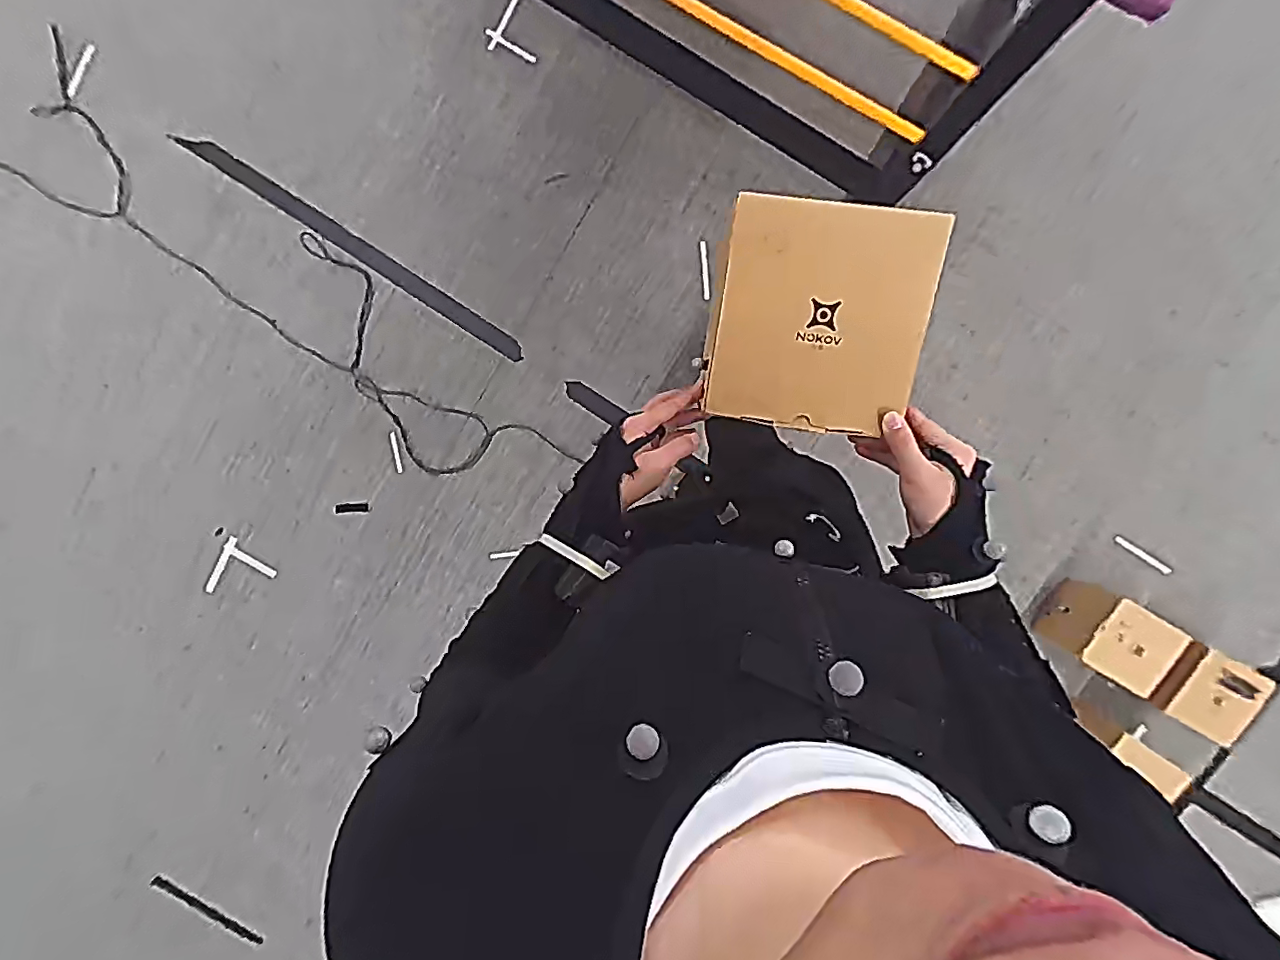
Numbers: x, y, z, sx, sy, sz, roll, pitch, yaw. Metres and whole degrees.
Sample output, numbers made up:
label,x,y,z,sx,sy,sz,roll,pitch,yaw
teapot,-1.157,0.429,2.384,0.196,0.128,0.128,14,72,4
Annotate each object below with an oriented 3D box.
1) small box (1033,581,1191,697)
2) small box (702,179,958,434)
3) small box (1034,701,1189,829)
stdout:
label,x,y,z,sx,sy,sz,roll,pitch,yaw
small box,1.077,0.356,1.251,0.179,0.176,0.168,31,96,0
small box,0.151,-0.151,0.500,0.168,0.176,0.179,8,106,2
small box,1.103,0.662,1.282,0.179,0.176,0.168,35,97,1
